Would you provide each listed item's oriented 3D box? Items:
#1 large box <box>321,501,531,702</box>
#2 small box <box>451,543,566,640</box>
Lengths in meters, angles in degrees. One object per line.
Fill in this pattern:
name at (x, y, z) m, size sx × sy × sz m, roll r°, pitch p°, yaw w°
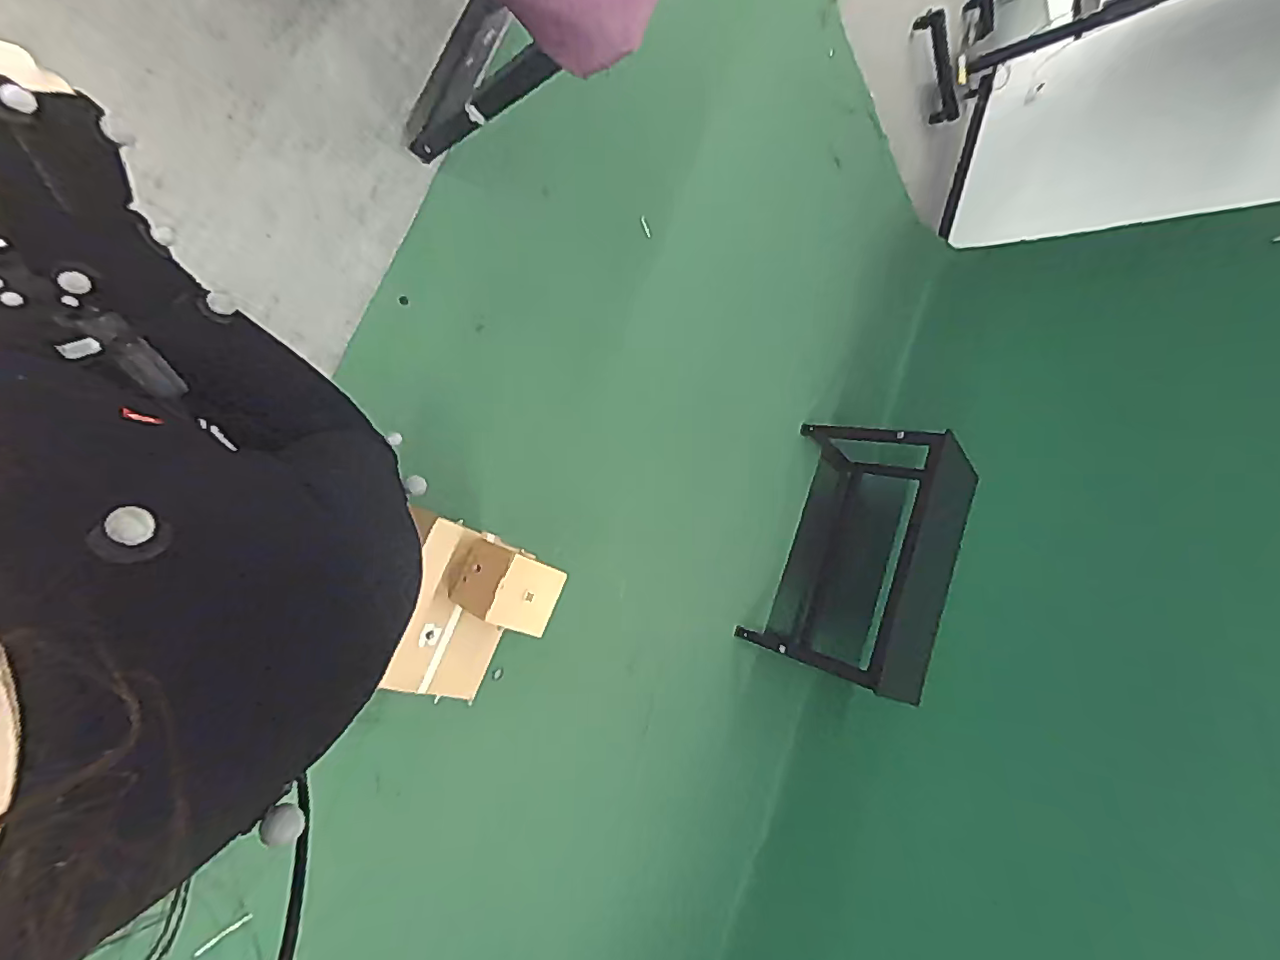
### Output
large box at (-0.560, 0.311, 1.427) m, size 0.320 × 0.320 × 0.408 m, roll 33°, pitch 75°, yaw -42°
small box at (-0.320, 0.266, 1.312) m, size 0.179 × 0.176 × 0.168 m, roll 34°, pitch 75°, yaw -43°
